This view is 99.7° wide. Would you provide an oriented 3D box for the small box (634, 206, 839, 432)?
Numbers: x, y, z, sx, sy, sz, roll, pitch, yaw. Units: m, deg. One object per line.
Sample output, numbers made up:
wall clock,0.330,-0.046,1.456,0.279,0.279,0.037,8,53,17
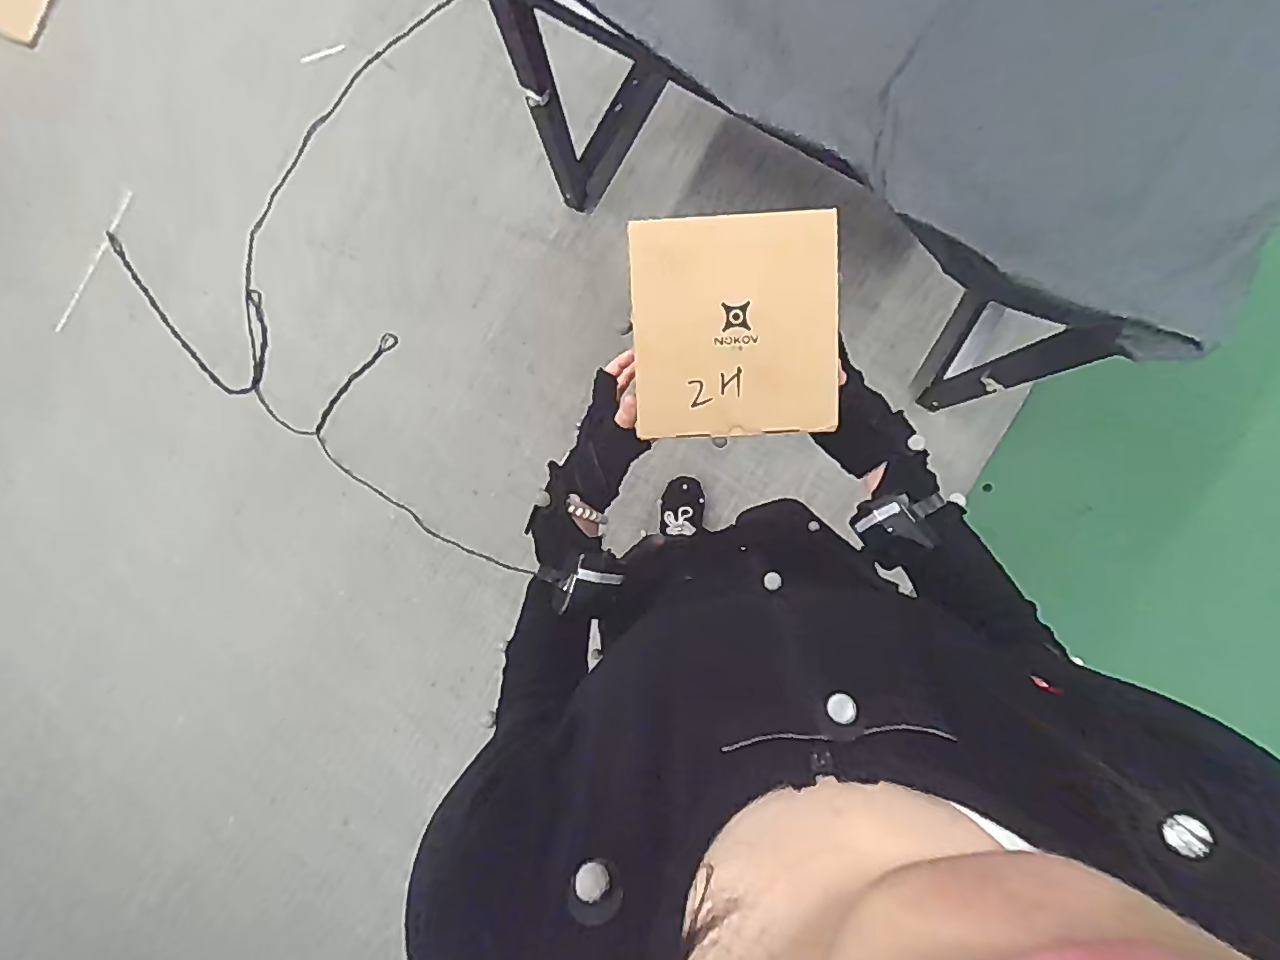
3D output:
small box,0.077,-0.136,0.513,0.168,0.176,0.179,-2,97,1
